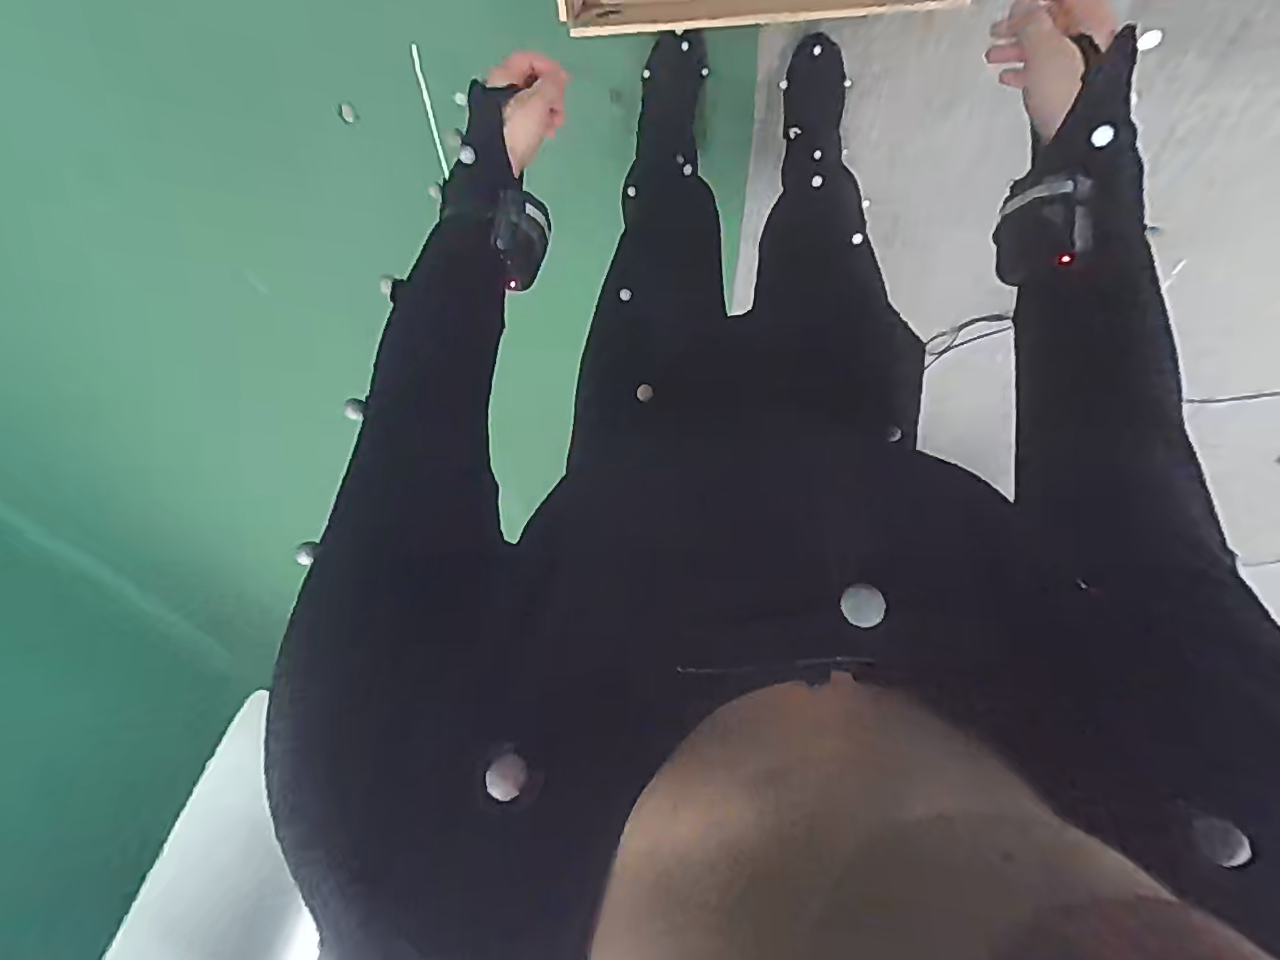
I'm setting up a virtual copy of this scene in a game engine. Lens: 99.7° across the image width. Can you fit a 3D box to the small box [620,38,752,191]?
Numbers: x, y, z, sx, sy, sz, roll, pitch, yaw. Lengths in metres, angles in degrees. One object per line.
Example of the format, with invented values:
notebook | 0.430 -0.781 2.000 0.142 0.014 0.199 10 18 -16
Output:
small box | 0.081 -0.660 0.990 0.179 0.176 0.168 33 120 5
